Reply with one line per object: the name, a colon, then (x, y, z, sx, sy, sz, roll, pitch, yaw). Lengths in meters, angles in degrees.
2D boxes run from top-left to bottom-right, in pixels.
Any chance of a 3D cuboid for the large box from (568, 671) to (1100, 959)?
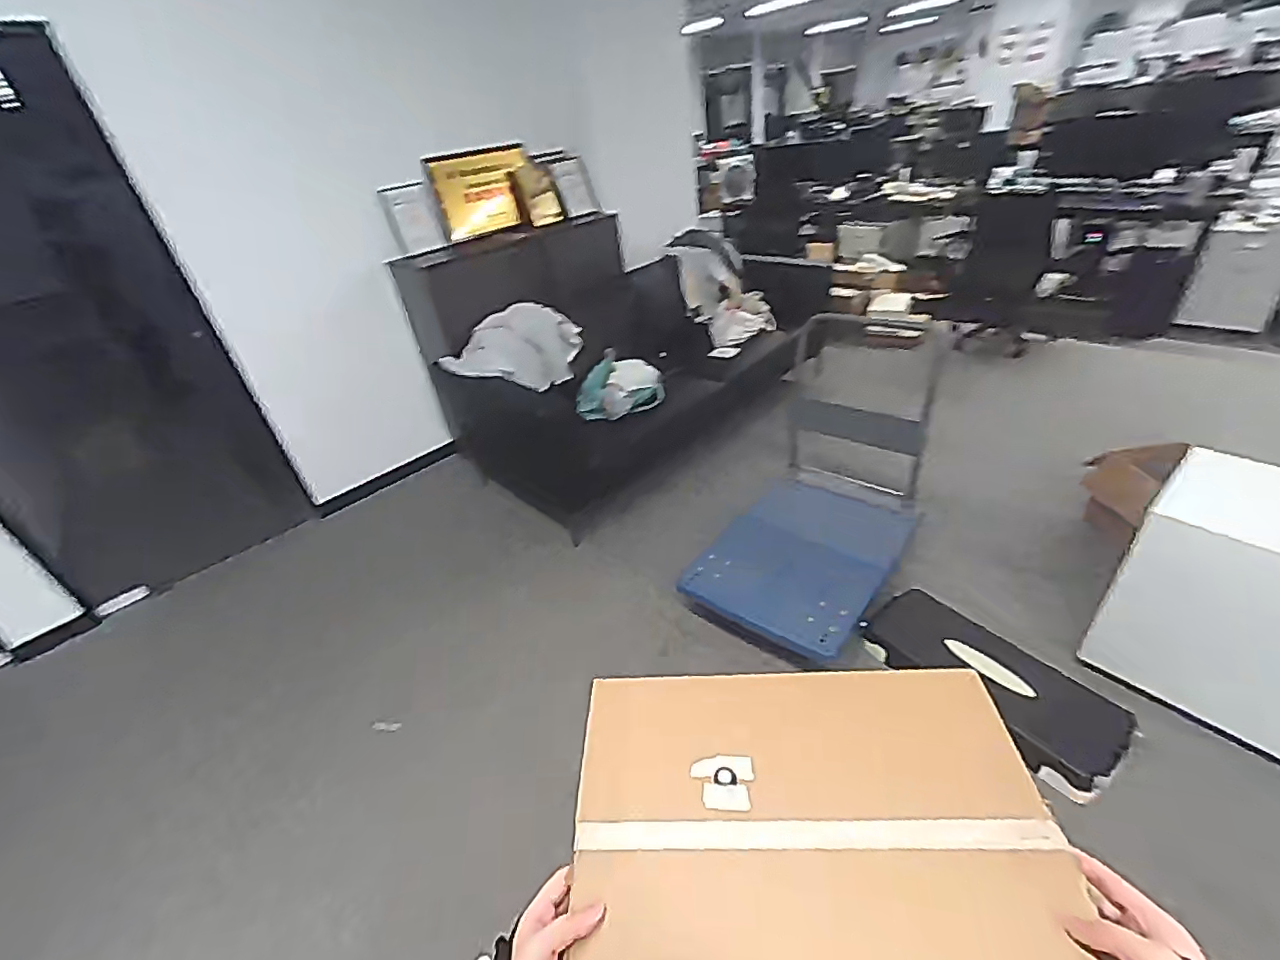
large box: (0.162, 0.432, 0.565, 0.408, 0.320, 0.320, -6, 39, 6)
